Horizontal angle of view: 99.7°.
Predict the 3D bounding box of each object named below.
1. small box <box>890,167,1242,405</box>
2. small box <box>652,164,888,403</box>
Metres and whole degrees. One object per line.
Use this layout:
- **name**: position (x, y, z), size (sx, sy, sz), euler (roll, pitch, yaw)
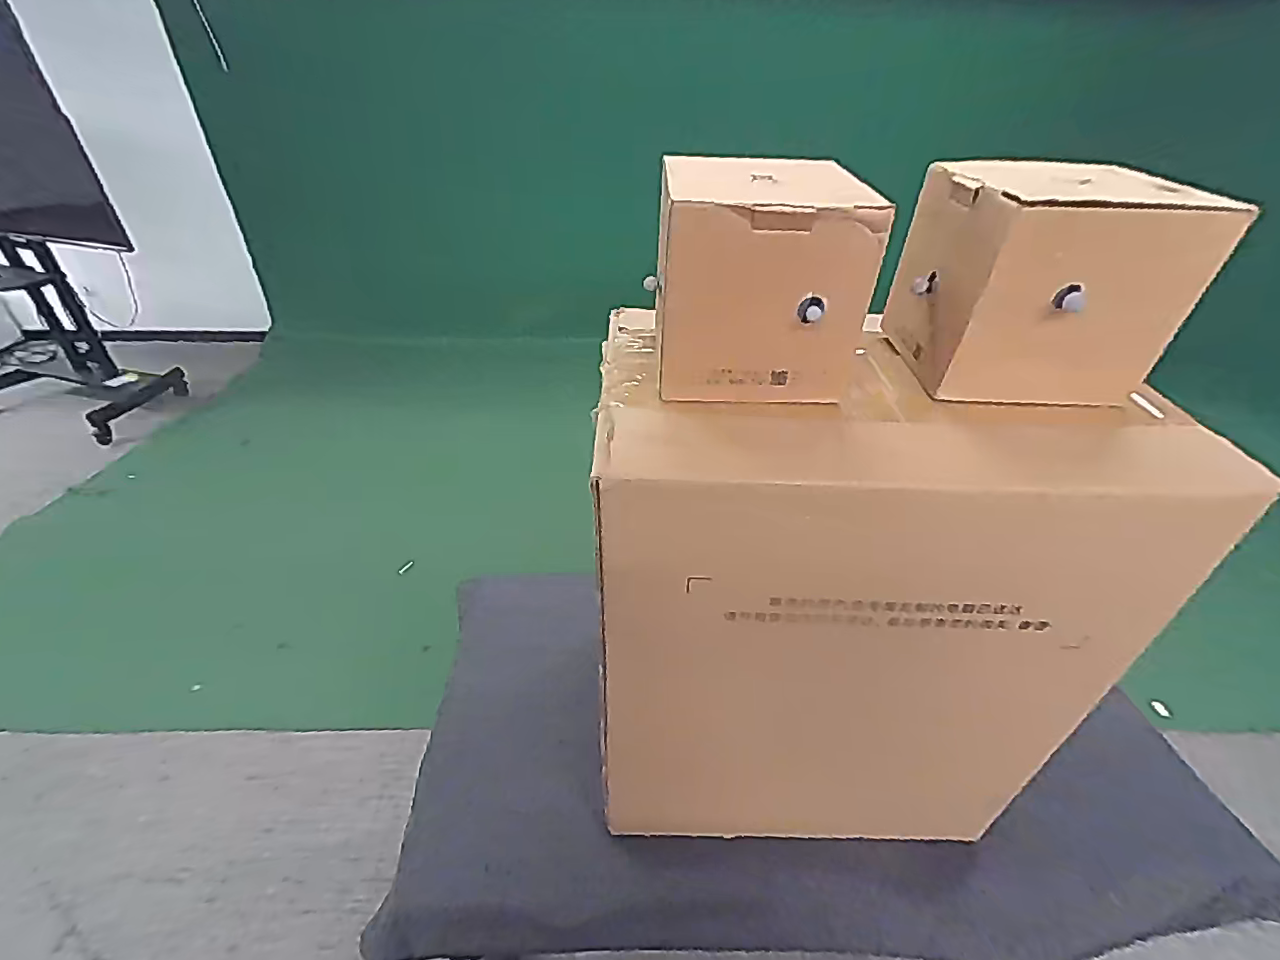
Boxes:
- **small box**: position (0.355, -0.182, 0.505), size (0.179, 0.176, 0.168), euler (1, 40, 1)
- **small box**: position (0.099, -0.183, 0.504), size (0.168, 0.176, 0.179), euler (2, 38, -1)
